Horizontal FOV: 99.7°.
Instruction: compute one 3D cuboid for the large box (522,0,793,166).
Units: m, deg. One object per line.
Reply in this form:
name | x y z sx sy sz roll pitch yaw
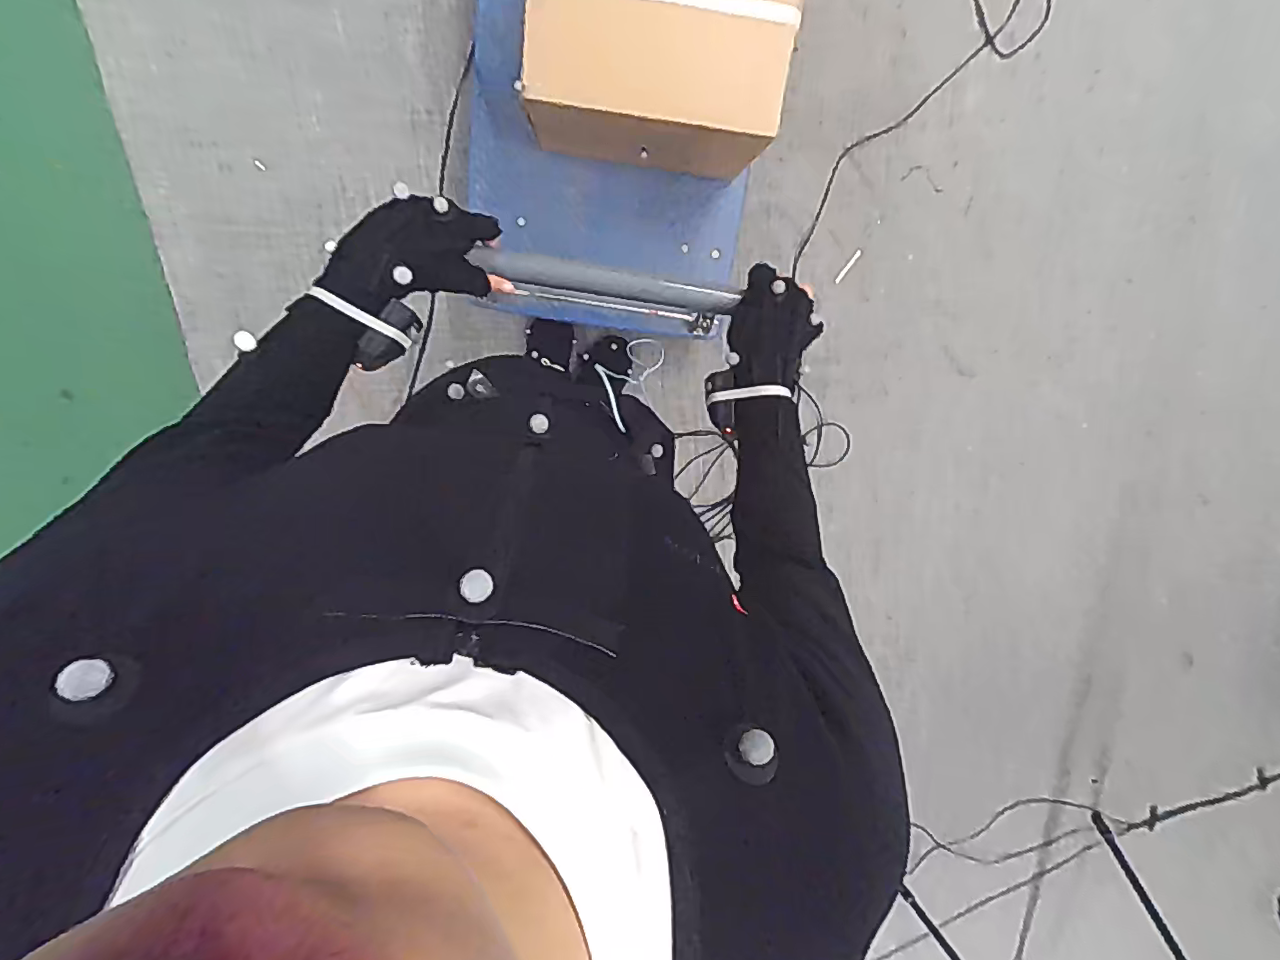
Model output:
large box | 0.025 -0.769 0.939 0.408 0.320 0.320 6 108 -5
